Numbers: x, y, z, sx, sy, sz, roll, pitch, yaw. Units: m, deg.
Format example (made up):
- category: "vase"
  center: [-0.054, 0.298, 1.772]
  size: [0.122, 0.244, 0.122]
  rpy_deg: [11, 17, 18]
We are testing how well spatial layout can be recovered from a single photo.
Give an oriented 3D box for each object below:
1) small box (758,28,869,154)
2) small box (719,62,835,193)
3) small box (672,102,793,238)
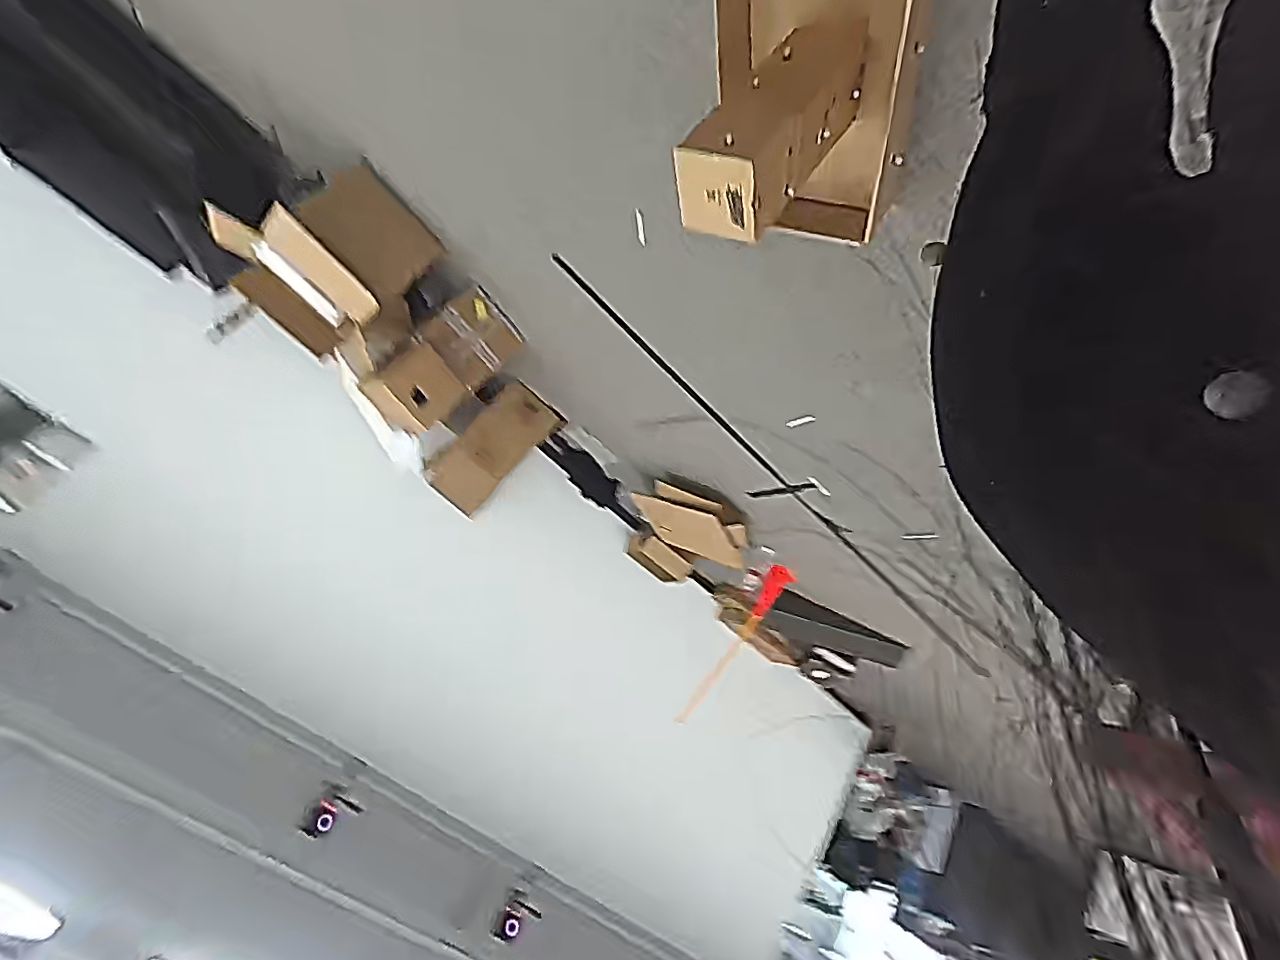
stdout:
- category: "small box"
  center: [0.373, -0.862, 1.194]
  size: [0.179, 0.176, 0.168]
  rpy_deg: [27, 157, 22]
- category: "small box"
  center: [0.283, -0.742, 1.134]
  size: [0.179, 0.176, 0.168]
  rpy_deg: [25, 157, 23]
- category: "small box"
  center: [0.189, -0.619, 1.077]
  size: [0.179, 0.176, 0.168]
  rpy_deg: [27, 157, 25]
